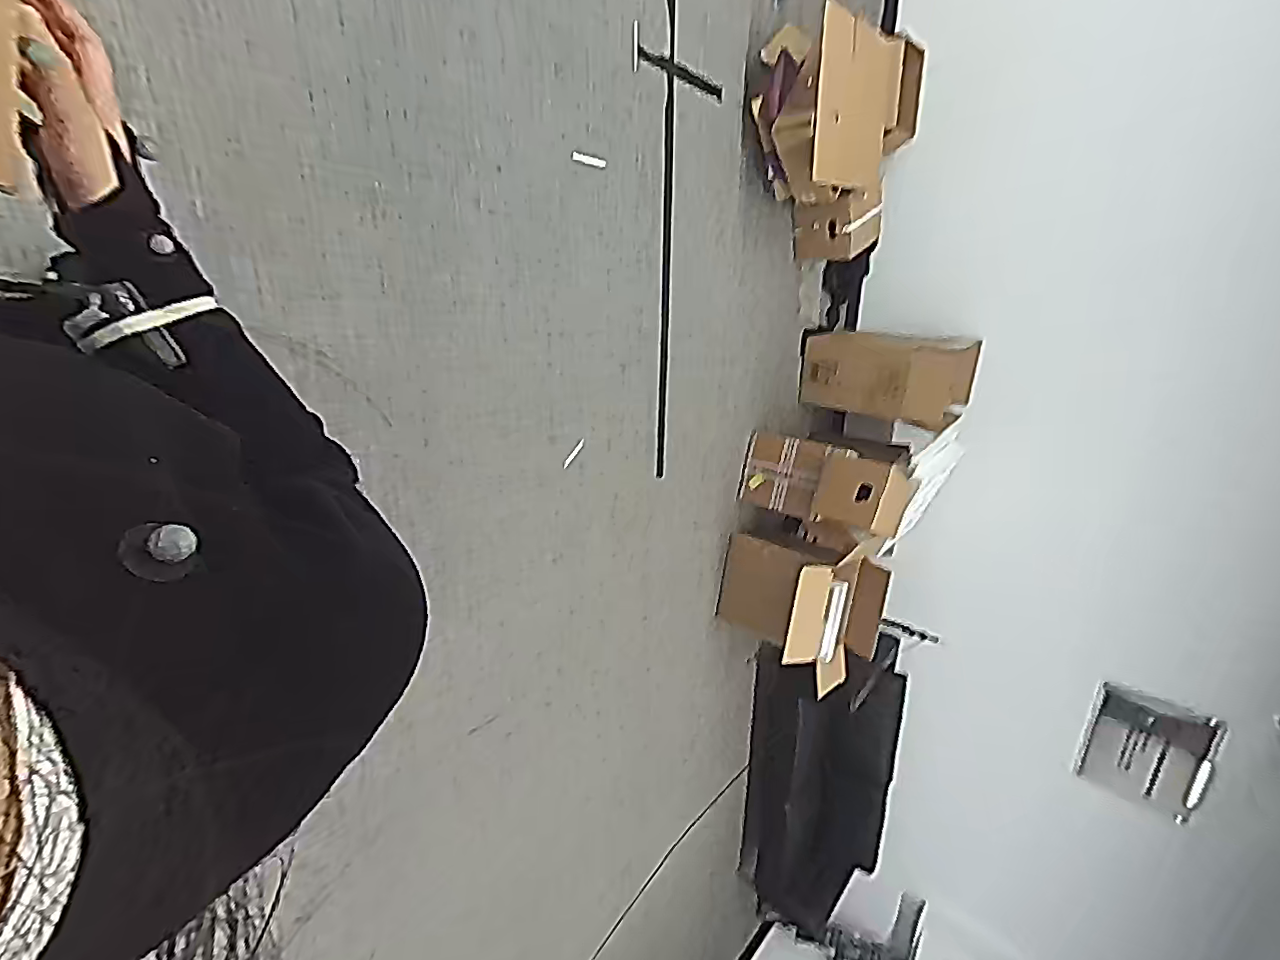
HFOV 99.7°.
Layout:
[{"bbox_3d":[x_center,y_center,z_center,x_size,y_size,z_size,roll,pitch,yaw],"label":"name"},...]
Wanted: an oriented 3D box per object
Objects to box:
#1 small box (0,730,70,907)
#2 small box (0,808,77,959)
[{"bbox_3d":[-0.757,0.402,0.582,0.168,0.176,0.179,-16,113,-46],"label":"small box"},{"bbox_3d":[-0.637,0.449,0.483,0.168,0.176,0.179,-18,116,-48],"label":"small box"}]
